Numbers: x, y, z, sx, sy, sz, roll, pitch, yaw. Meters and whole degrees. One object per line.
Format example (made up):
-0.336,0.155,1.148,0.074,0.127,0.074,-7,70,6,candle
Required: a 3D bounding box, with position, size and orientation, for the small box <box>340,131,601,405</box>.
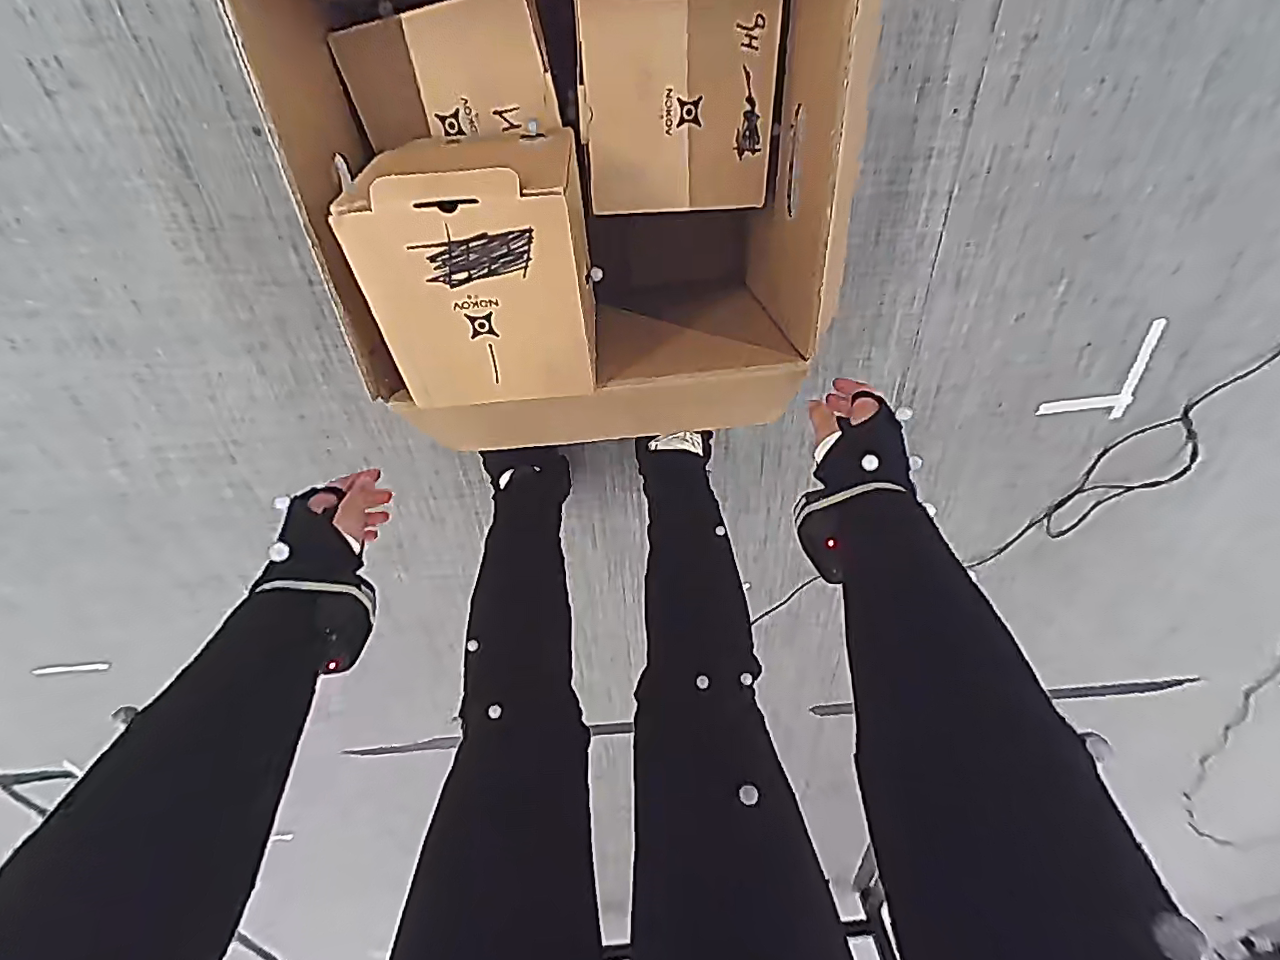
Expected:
-0.126,-0.191,0.480,0.168,0.176,0.179,-5,136,0,small box
